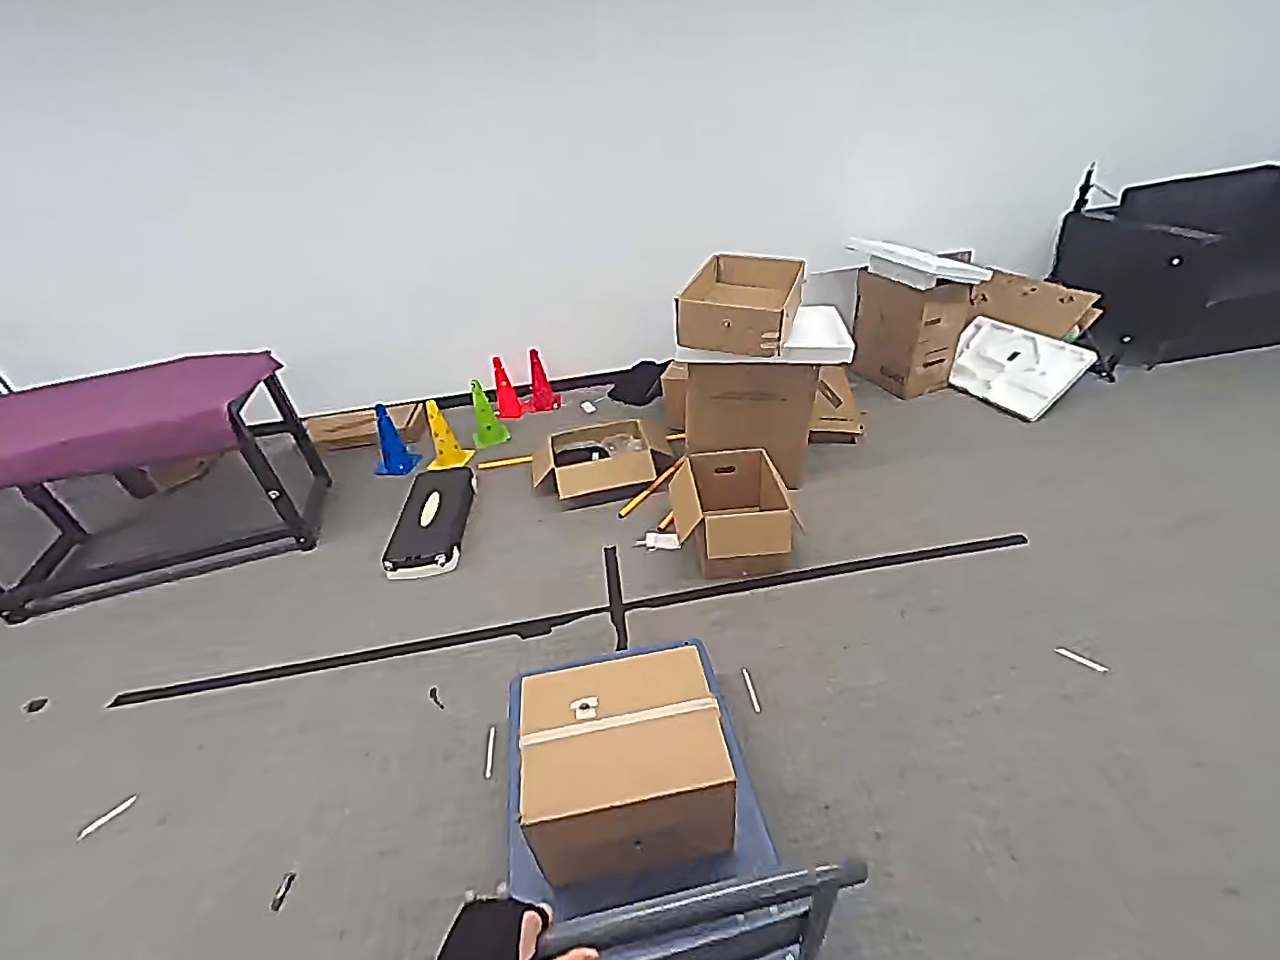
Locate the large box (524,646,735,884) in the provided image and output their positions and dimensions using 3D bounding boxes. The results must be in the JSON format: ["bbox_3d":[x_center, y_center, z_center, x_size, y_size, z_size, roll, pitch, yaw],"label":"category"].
[{"bbox_3d":[-0.025,0.628,1.208,0.408,0.320,0.320,-11,34,-4],"label":"large box"}]
